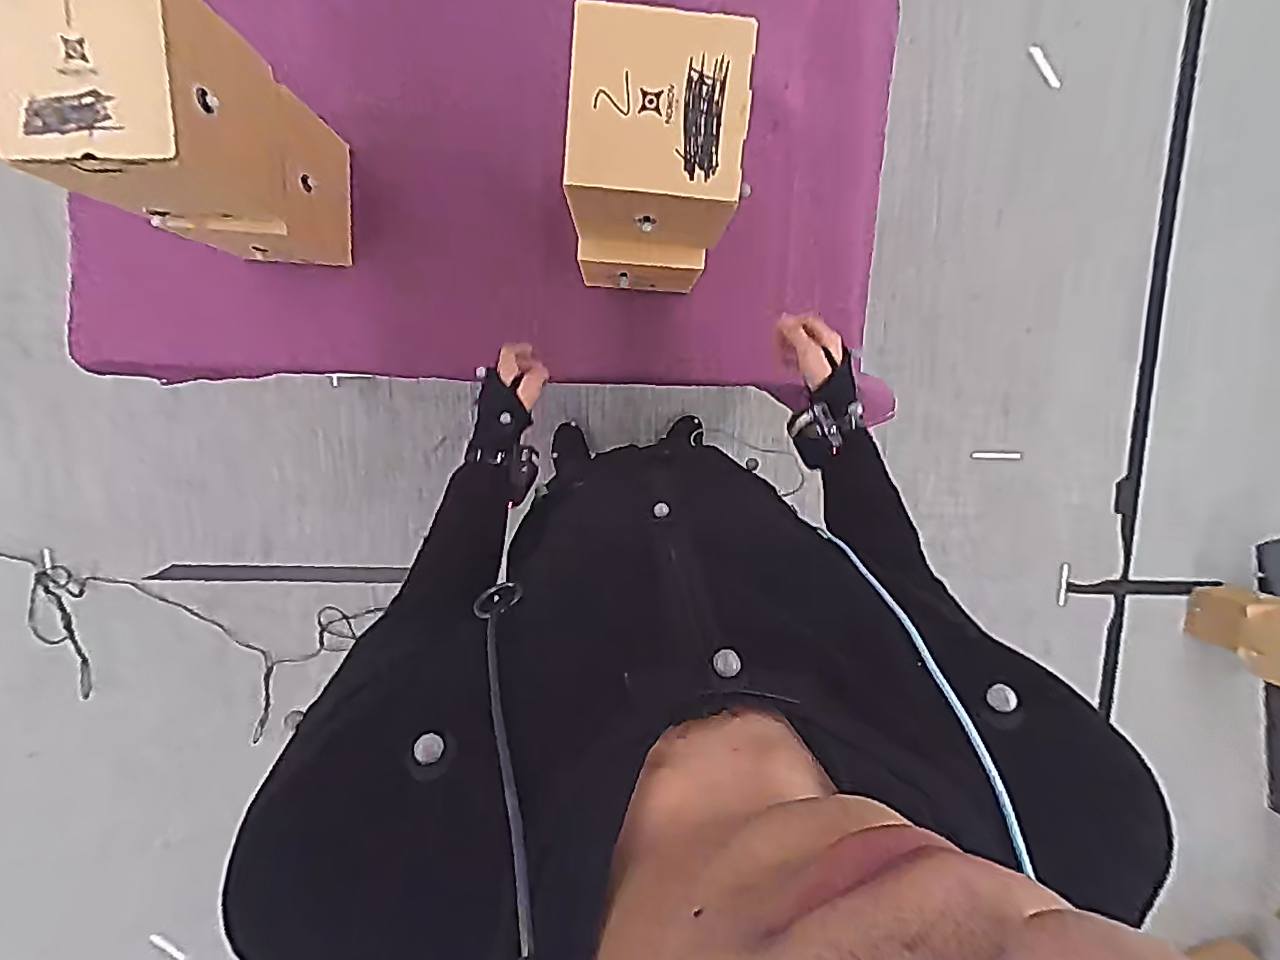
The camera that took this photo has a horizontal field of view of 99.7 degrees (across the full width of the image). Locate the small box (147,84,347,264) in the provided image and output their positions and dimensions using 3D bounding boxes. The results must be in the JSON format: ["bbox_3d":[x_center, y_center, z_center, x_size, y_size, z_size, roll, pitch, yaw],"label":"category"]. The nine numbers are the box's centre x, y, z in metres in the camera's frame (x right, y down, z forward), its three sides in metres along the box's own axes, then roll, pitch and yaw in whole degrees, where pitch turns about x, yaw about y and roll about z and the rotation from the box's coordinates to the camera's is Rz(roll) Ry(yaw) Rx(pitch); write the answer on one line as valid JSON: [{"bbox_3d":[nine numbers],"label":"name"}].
[{"bbox_3d":[-0.518,-0.404,0.732,0.168,0.176,0.179,3,98,-4],"label":"small box"}]

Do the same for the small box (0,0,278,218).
[{"bbox_3d":[-0.515,-0.391,0.568,0.168,0.176,0.179,-1,98,-3],"label":"small box"}]

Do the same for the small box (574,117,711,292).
[{"bbox_3d":[0.000,-0.372,0.763,0.168,0.176,0.179,3,98,-2],"label":"small box"}]
